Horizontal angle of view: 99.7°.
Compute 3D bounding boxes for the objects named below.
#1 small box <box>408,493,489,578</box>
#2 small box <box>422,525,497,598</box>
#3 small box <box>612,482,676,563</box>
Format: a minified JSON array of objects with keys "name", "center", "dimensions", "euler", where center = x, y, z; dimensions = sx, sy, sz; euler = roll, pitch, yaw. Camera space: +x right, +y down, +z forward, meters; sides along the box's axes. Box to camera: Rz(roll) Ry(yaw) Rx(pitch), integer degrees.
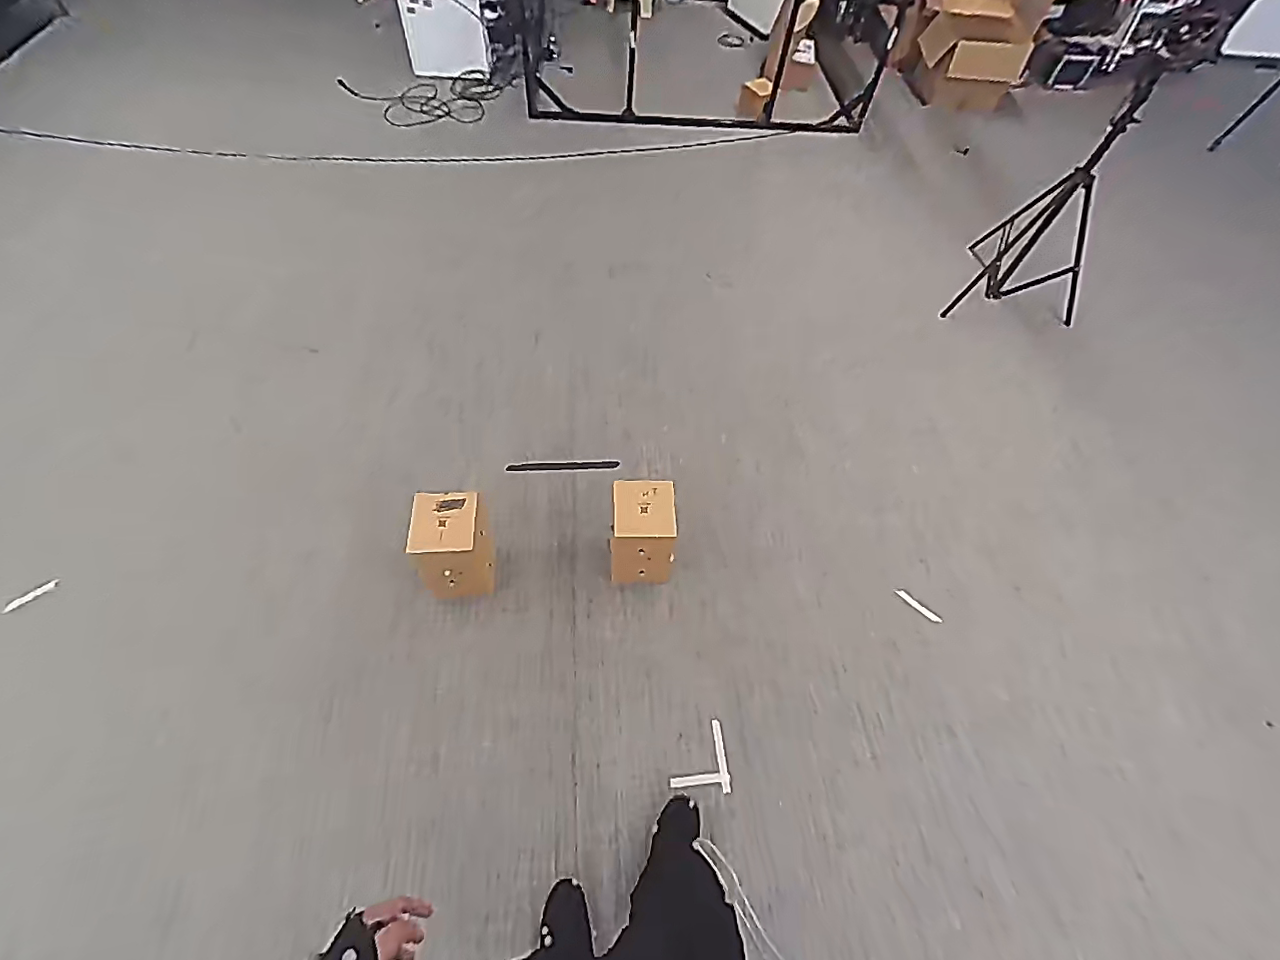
[{"name":"small box","center":[-0.507,0.151,1.458],"dimensions":[0.168,0.176,0.179],"euler":[-2,59,-5]},{"name":"small box","center":[-0.523,0.241,1.595],"dimensions":[0.179,0.176,0.168],"euler":[-2,58,-5]},{"name":"small box","center":[0.007,0.124,1.518],"dimensions":[0.168,0.176,0.179],"euler":[1,58,-5]}]
